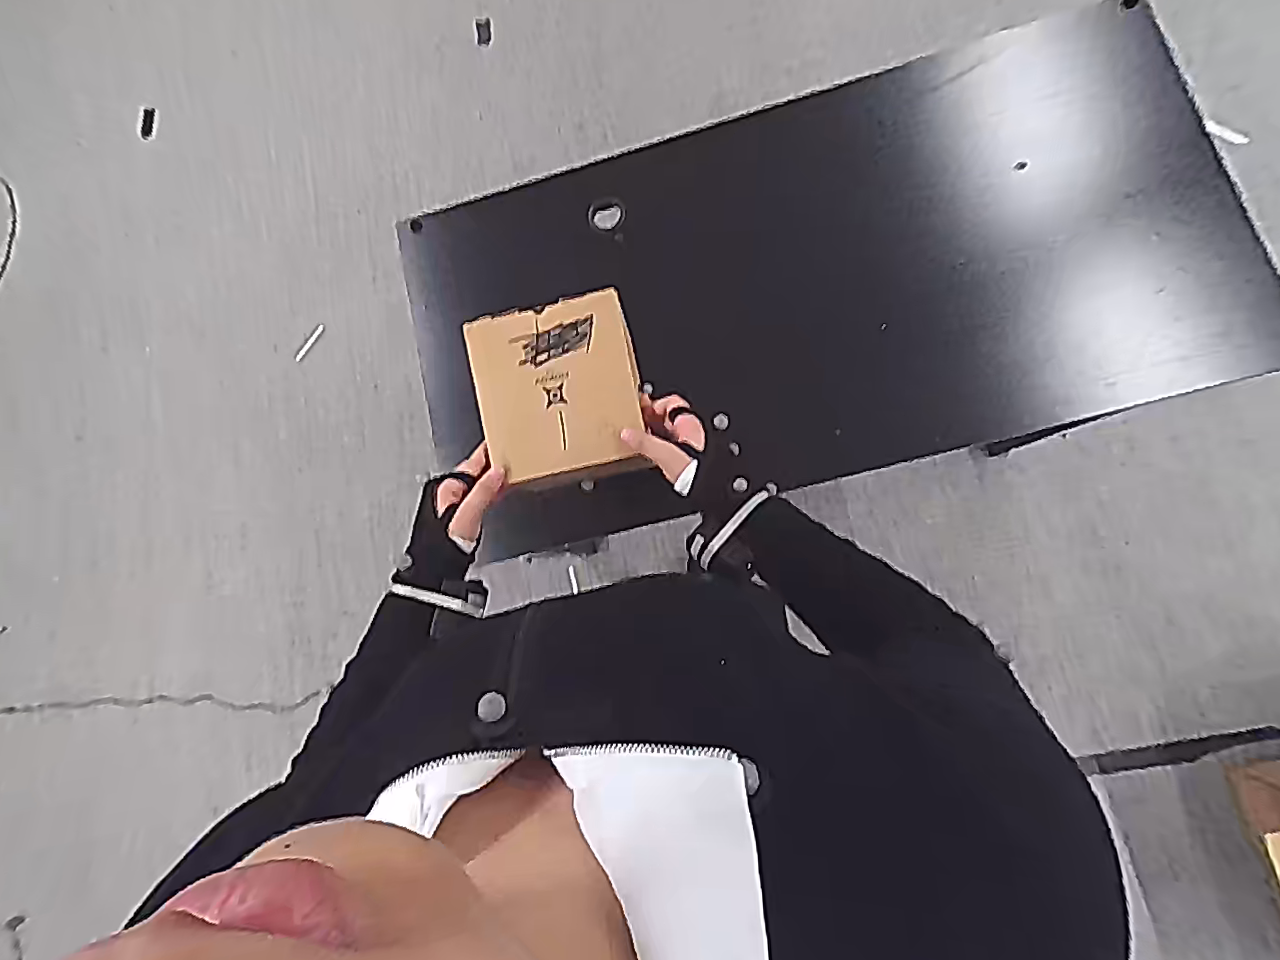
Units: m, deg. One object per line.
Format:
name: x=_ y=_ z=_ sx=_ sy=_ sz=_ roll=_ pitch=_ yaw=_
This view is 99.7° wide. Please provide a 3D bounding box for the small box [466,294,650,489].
small box: x=-0.086 y=-0.091 z=0.644 sx=0.168 sy=0.176 sz=0.179 roll=-12 pitch=87 yaw=4
